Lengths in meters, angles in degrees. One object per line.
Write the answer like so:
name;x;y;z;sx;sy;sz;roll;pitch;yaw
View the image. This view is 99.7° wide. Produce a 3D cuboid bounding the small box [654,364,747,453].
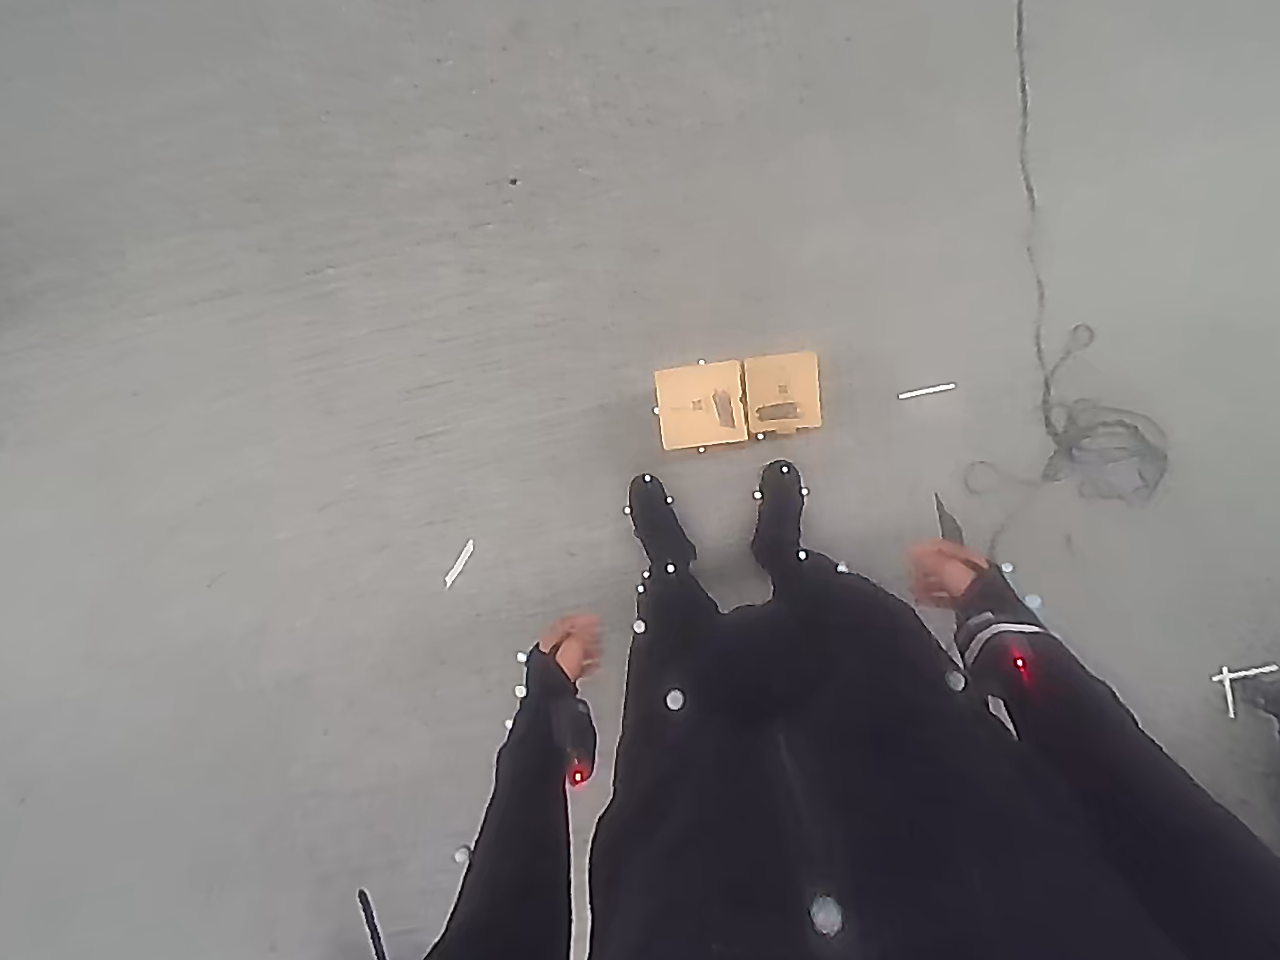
small box;0.130;-0.153;1.175;0.179;0.176;0.168;-7;94;7
